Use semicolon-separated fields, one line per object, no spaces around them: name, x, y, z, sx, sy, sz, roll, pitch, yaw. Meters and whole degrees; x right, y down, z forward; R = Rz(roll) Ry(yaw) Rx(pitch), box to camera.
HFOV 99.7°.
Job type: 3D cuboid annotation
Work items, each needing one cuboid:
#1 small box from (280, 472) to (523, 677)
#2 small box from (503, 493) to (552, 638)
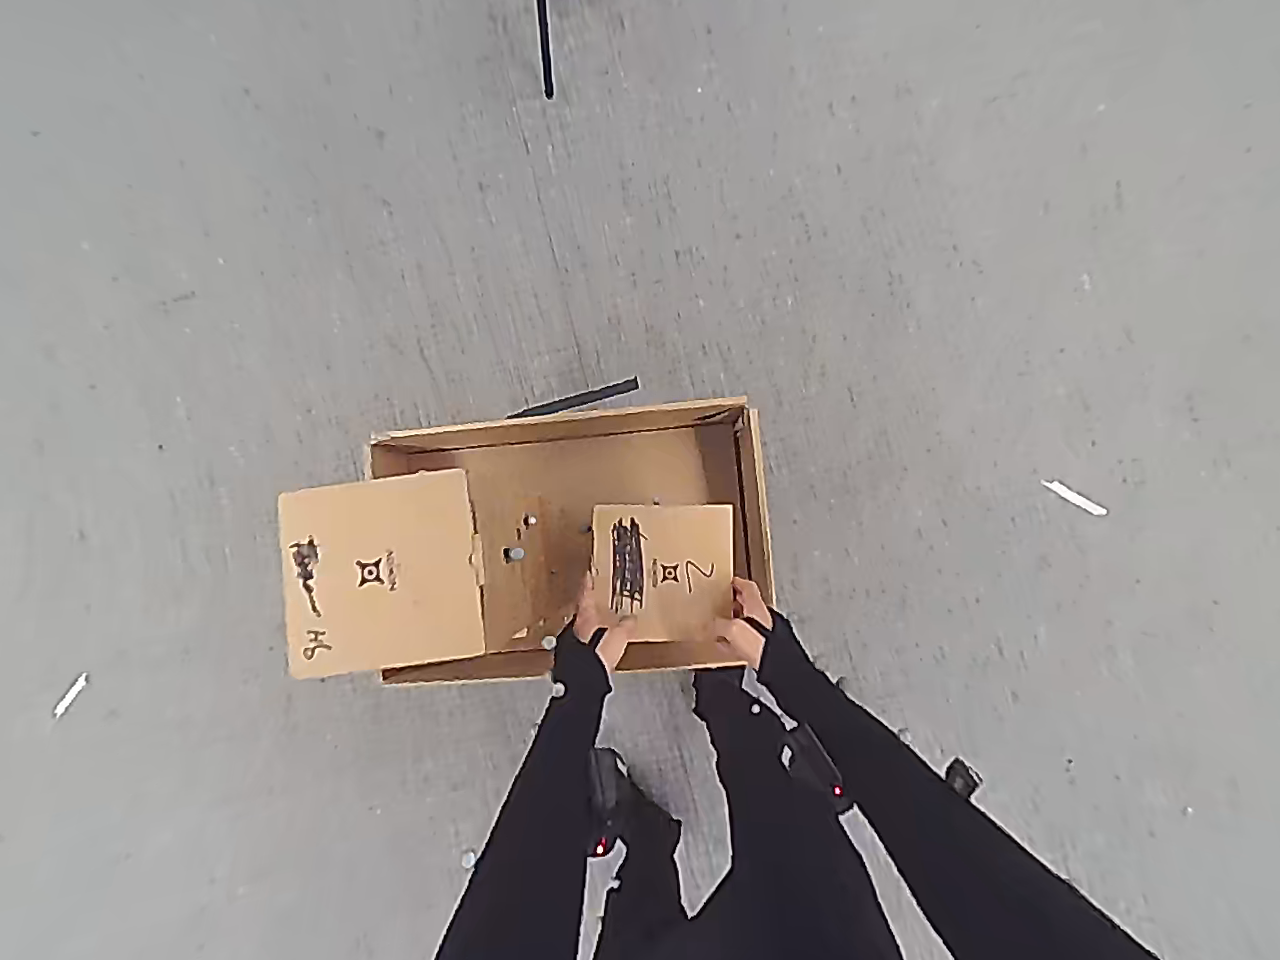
small box;-0.224;0.087;0.554;0.179;0.176;0.168;-7;85;1
small box;-0.217;0.109;0.716;0.168;0.176;0.179;-6;85;1
